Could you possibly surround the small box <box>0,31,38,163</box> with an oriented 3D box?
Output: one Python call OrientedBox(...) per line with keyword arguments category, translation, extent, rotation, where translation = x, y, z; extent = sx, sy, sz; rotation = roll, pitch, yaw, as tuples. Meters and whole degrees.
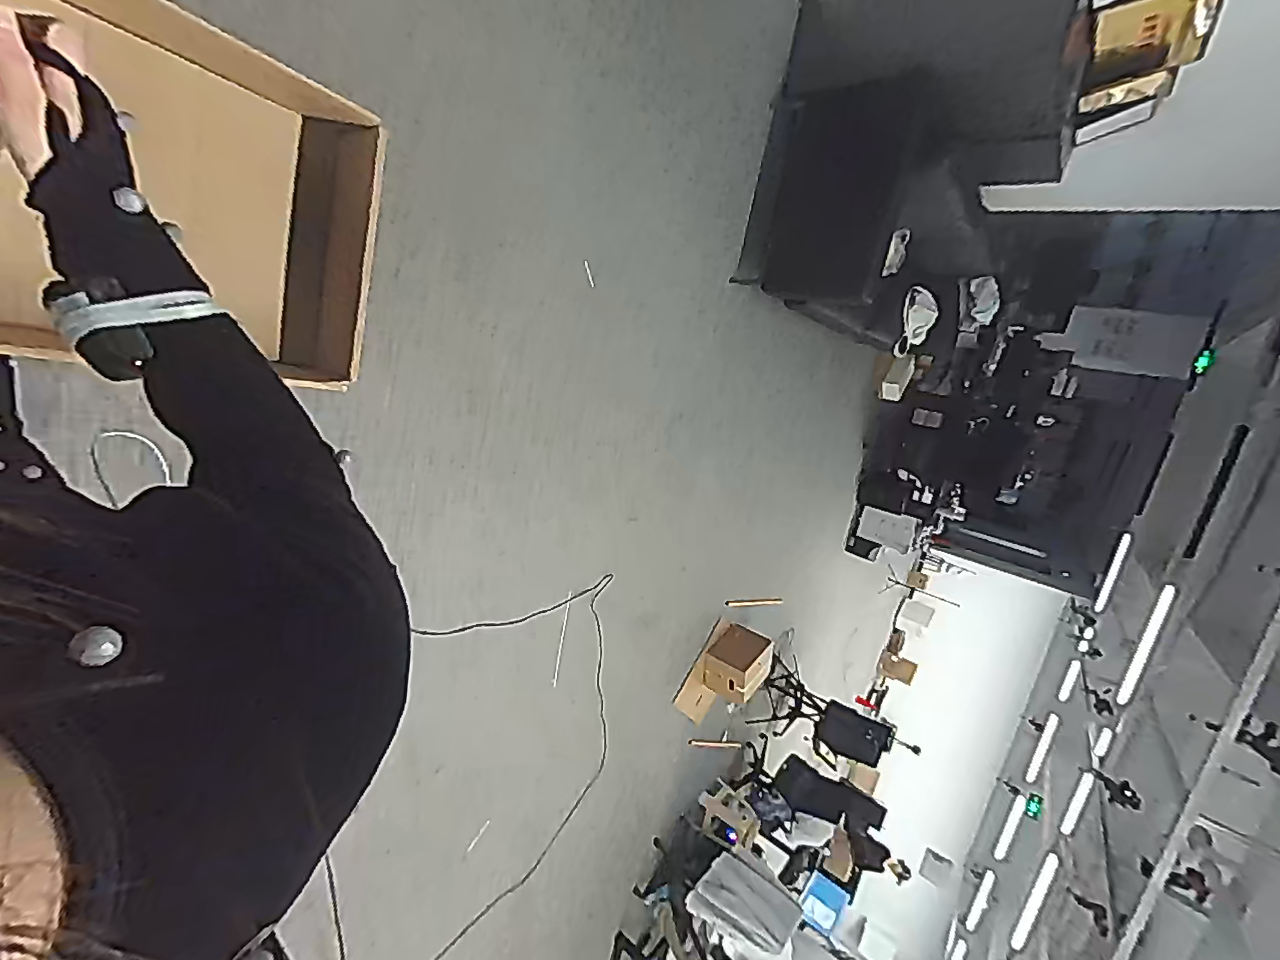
OrientedBox(category="small box", translation=(-0.499, -0.246, 0.300), extent=(0.168, 0.176, 0.179), rotation=(31, 80, -40))
